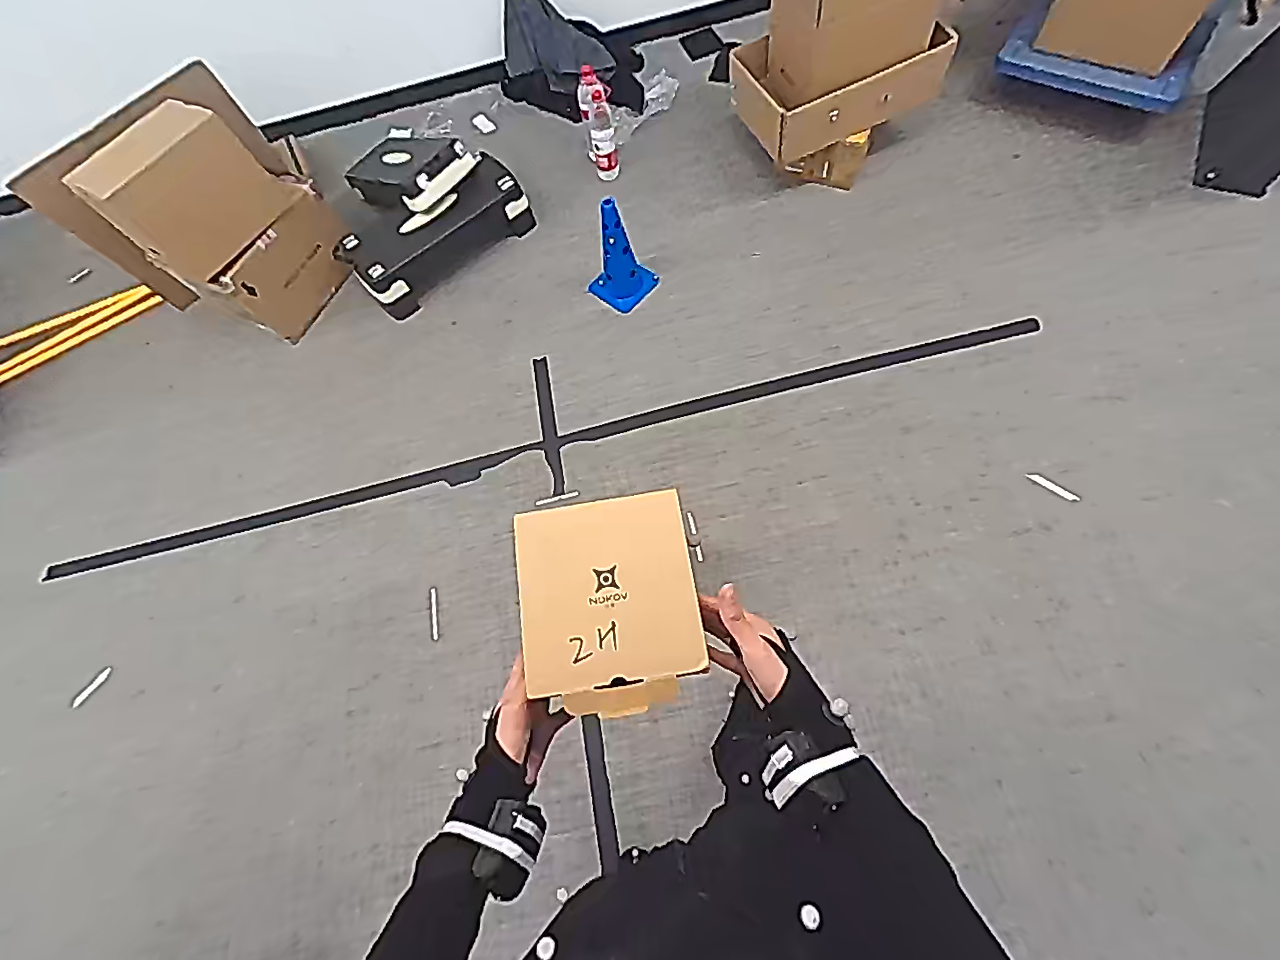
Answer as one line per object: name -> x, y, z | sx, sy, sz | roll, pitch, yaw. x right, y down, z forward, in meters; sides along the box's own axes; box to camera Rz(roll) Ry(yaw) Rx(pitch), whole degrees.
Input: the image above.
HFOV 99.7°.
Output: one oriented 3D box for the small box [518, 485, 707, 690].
small box -> -0.028, 0.123, 0.580 | 0.168, 0.176, 0.179 | -9, 70, 0
